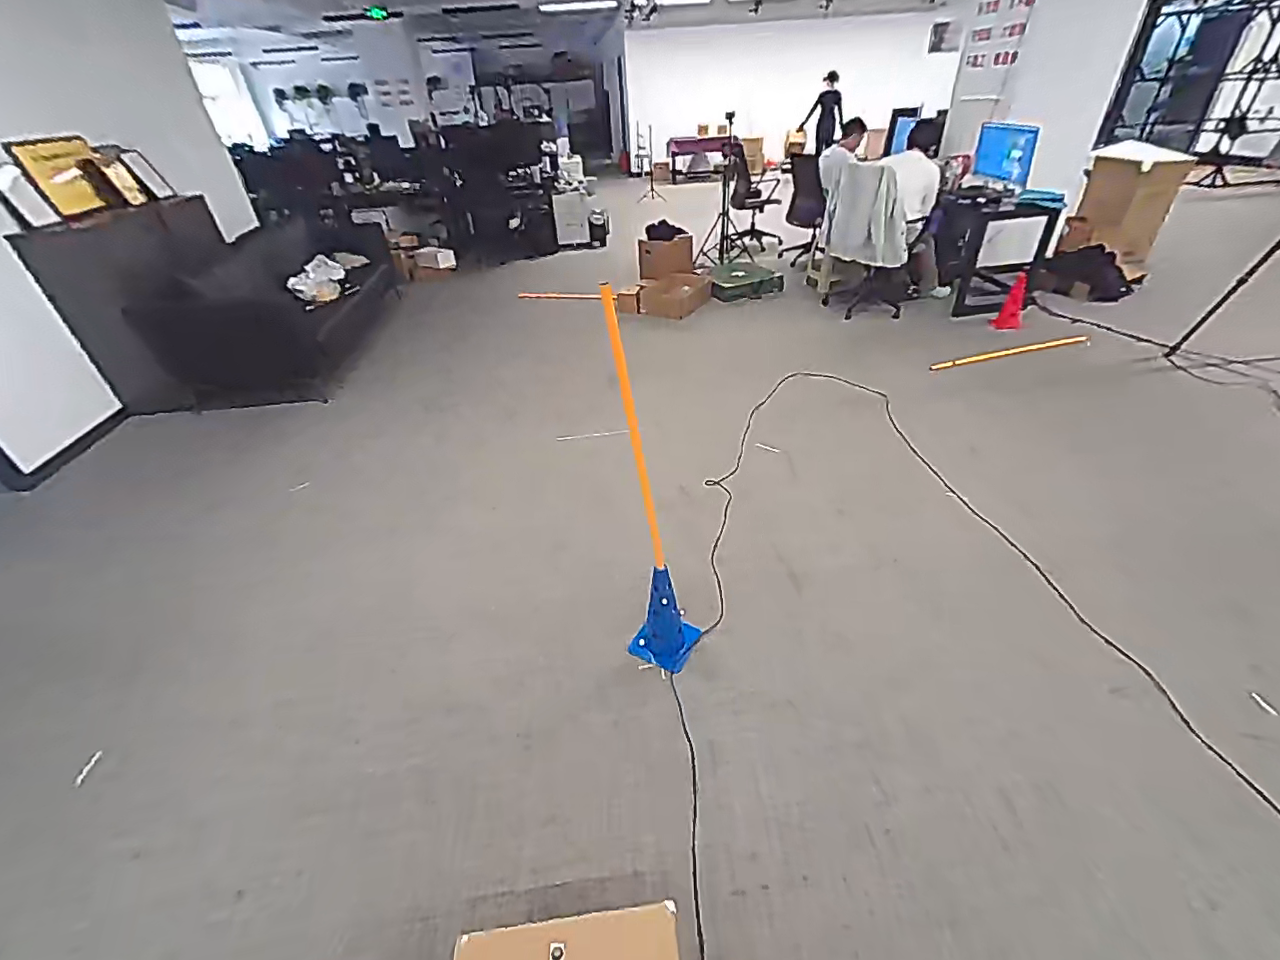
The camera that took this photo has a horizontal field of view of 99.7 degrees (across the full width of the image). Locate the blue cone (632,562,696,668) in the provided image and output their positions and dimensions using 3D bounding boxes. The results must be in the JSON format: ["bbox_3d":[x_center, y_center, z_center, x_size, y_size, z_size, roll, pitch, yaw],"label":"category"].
[{"bbox_3d":[0.072,0.413,1.747,0.192,0.380,0.193,13,40,24],"label":"blue cone"}]
